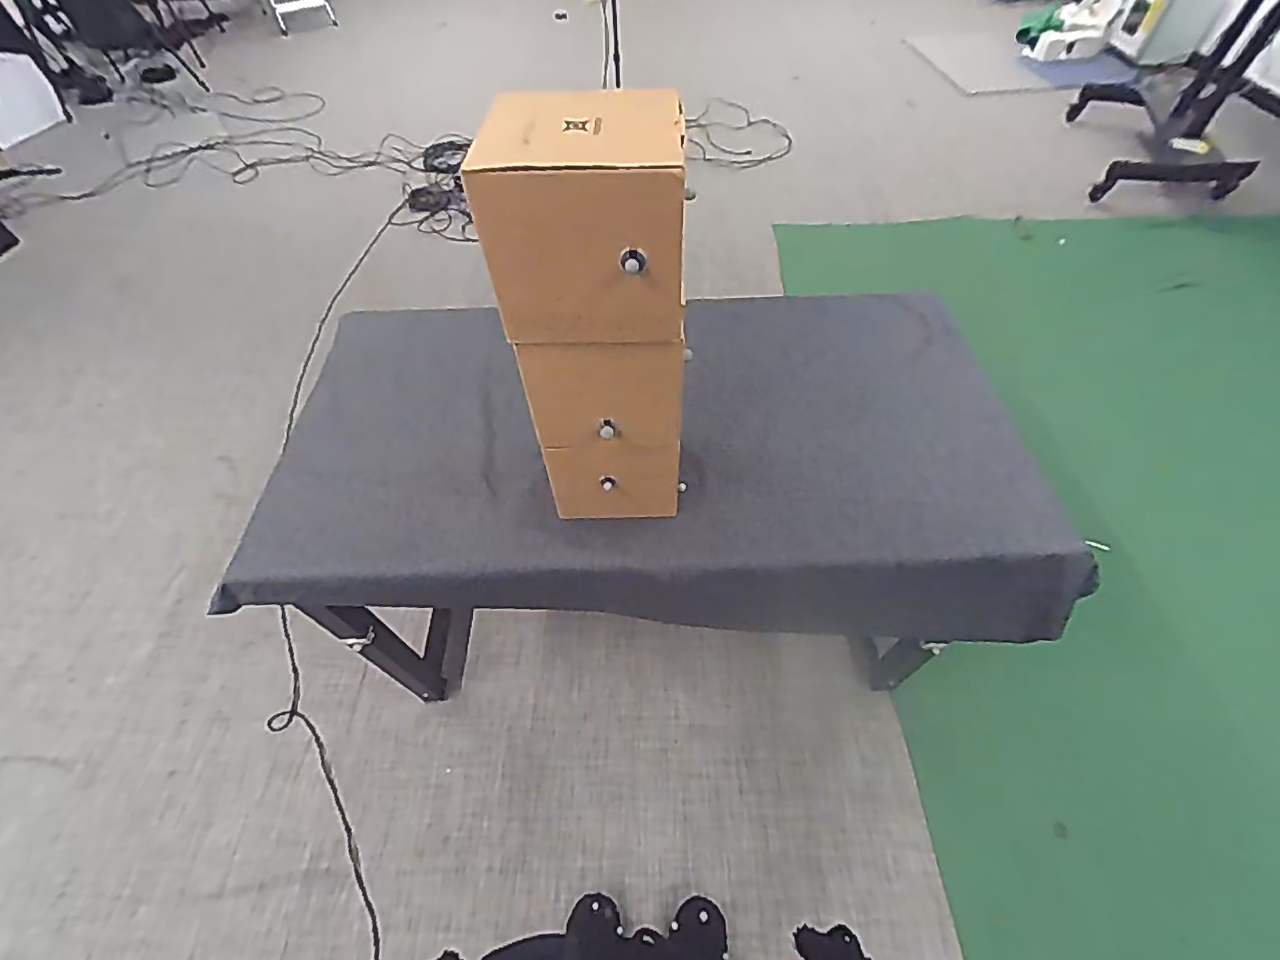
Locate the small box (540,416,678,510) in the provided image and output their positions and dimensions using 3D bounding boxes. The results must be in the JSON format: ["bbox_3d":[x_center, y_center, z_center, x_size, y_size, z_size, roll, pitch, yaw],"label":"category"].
[{"bbox_3d":[-0.037,-0.067,0.790,0.179,0.176,0.168,-2,54,2],"label":"small box"}]

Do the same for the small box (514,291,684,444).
[{"bbox_3d":[-0.043,-0.158,0.658,0.179,0.176,0.168,-4,55,1],"label":"small box"}]

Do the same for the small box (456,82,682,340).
[{"bbox_3d":[-0.051,-0.252,0.523,0.179,0.176,0.168,-2,53,3],"label":"small box"}]
